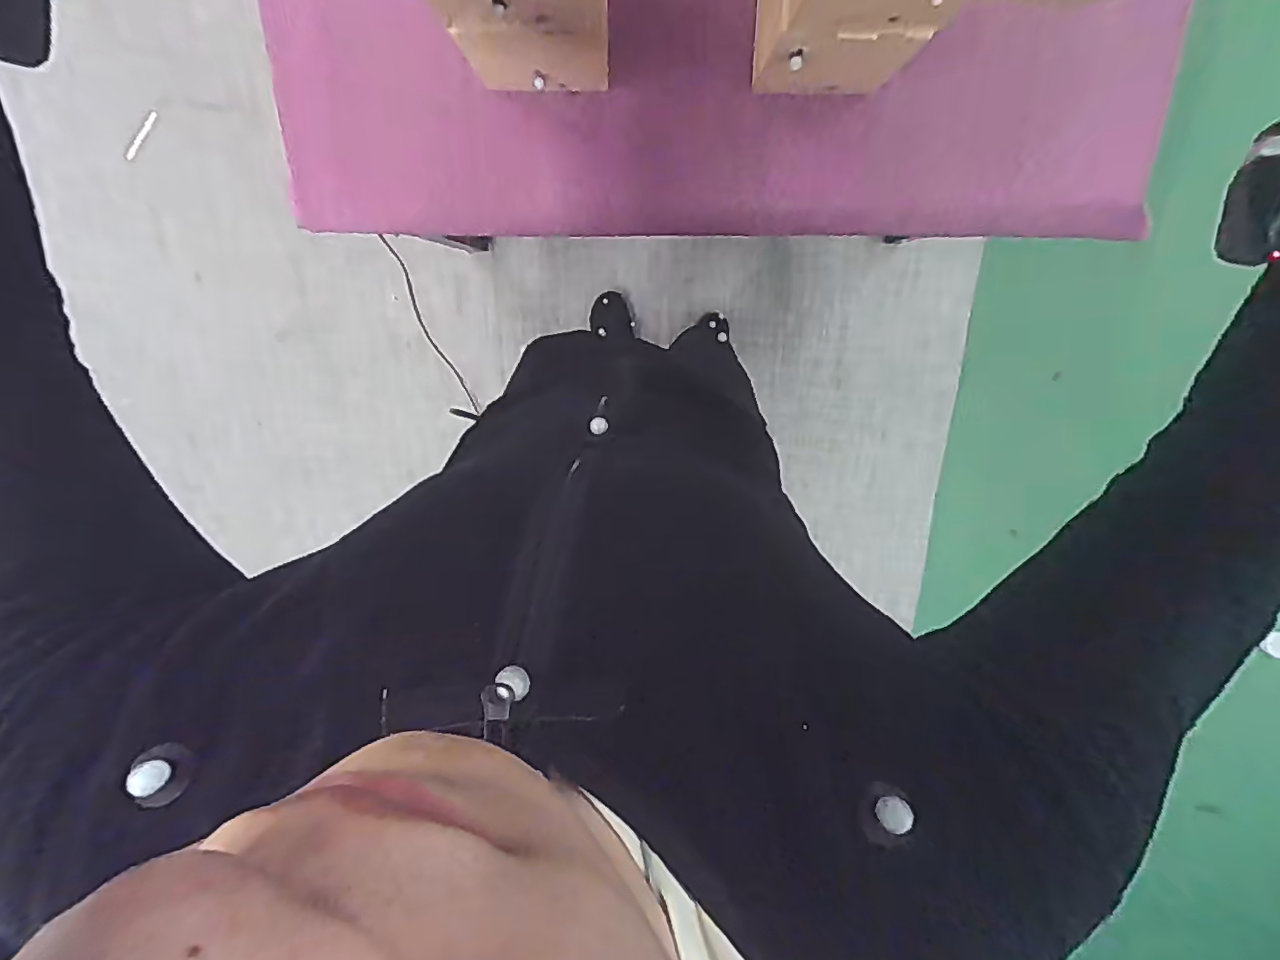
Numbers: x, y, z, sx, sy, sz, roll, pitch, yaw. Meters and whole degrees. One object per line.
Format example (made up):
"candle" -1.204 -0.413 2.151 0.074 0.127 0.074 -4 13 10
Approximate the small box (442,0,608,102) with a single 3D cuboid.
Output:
"small box" -0.125 -0.572 0.625 0.168 0.176 0.179 1 108 0

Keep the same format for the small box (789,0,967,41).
"small box" 0.236 -0.522 0.472 0.168 0.176 0.179 0 107 -1

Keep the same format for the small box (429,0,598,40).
"small box" -0.124 -0.525 0.469 0.168 0.176 0.179 -1 108 -1
